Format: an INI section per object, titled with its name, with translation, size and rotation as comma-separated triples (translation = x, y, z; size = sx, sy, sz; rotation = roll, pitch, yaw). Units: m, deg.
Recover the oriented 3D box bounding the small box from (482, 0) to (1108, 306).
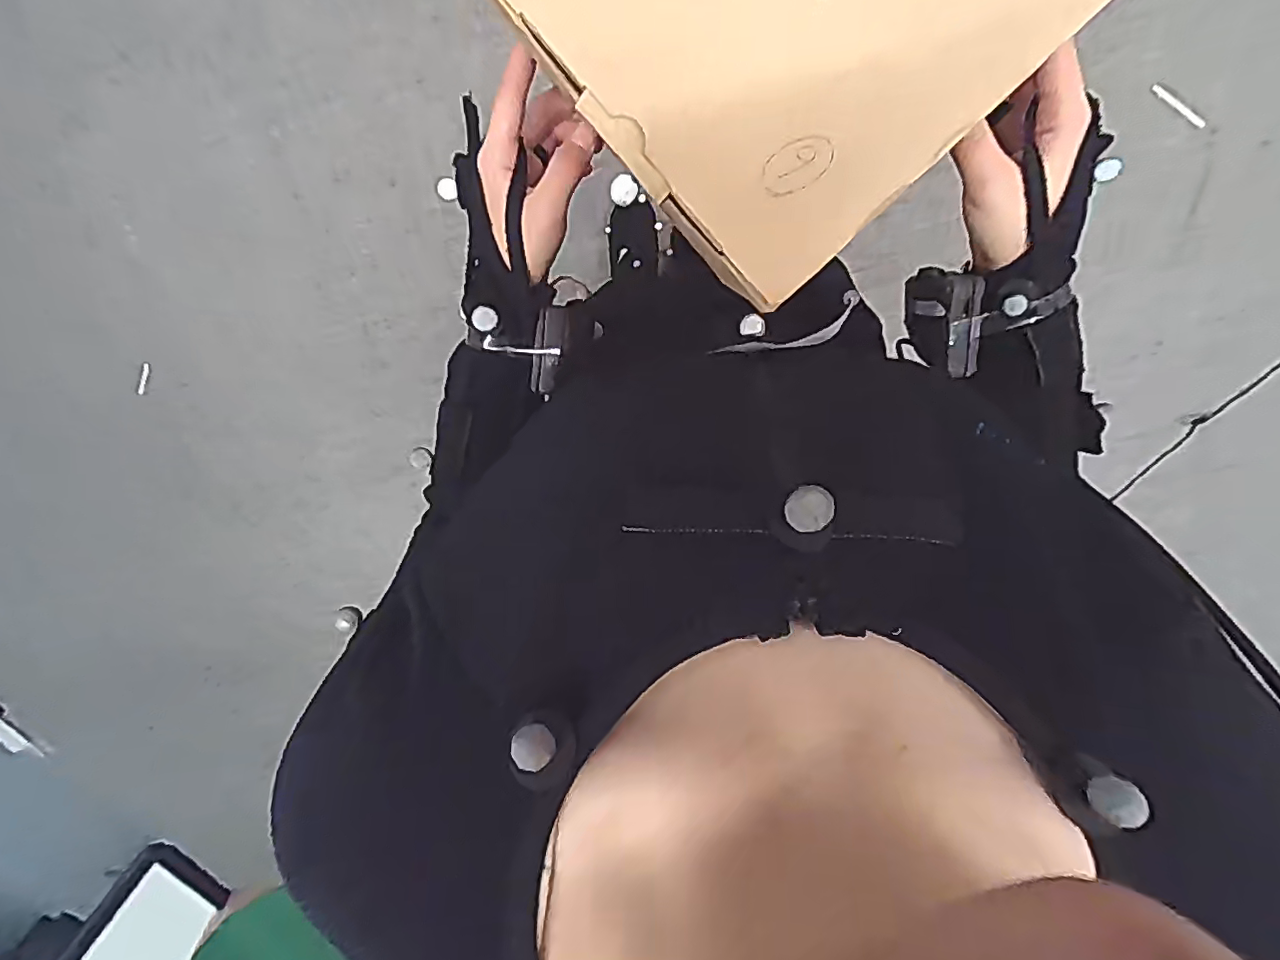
[small box]
translation = 0.059, -0.206, 0.242
size = 0.179, 0.176, 0.168
rotation = -40, 105, 19
